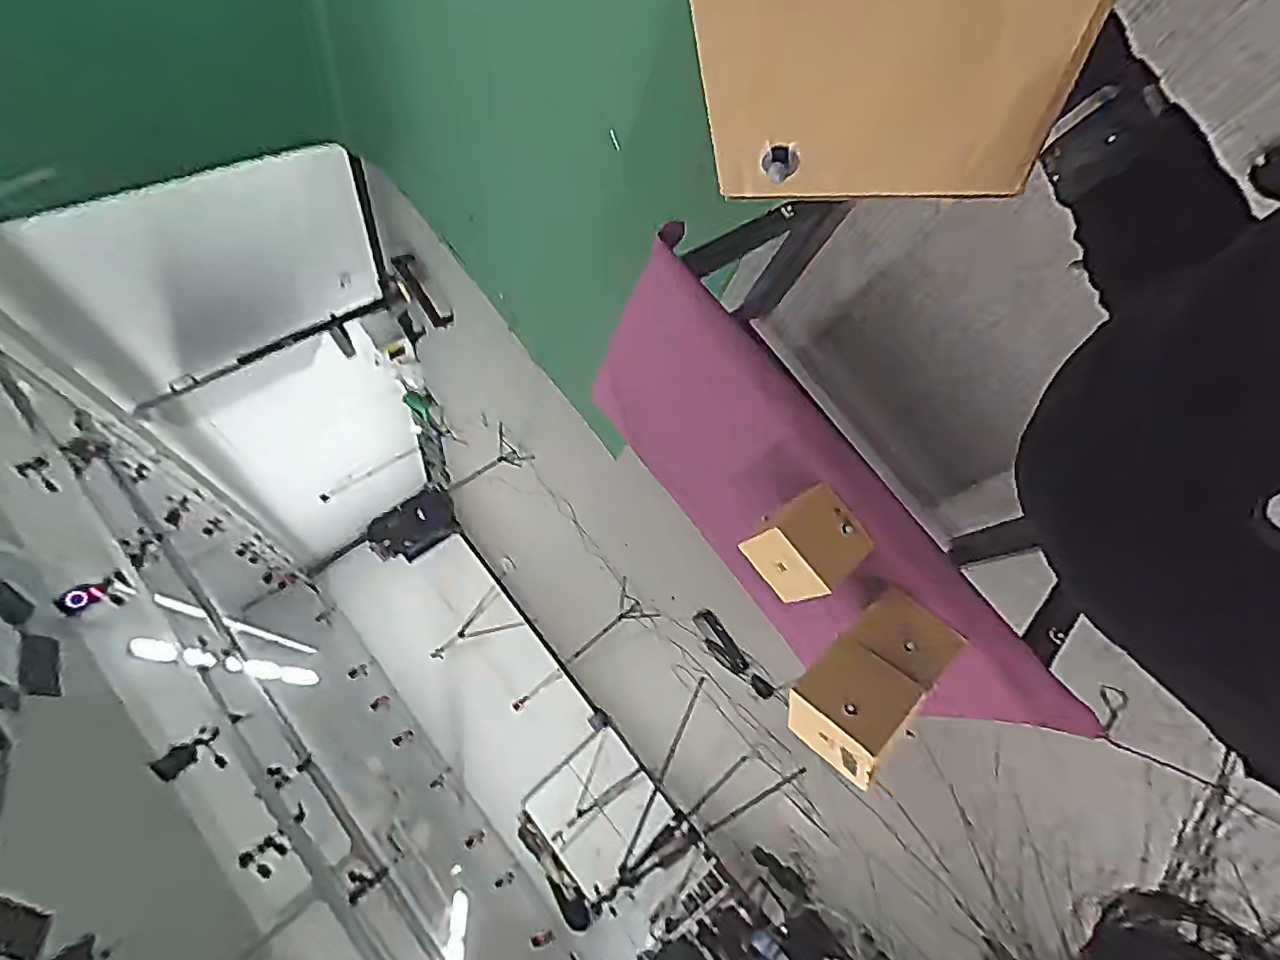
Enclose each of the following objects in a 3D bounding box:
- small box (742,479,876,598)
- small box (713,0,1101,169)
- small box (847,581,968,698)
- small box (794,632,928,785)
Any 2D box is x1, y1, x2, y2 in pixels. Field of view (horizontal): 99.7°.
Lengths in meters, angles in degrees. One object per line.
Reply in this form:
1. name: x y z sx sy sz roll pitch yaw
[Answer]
1. small box: 0.357 0.125 1.145 0.168 0.176 0.179 50 155 5
2. small box: 0.133 -0.286 0.262 0.179 0.168 0.176 10 168 17
3. small box: 0.532 0.343 1.117 0.179 0.176 0.168 39 151 28
4. small box: 0.417 0.427 1.033 0.179 0.176 0.168 33 148 39
